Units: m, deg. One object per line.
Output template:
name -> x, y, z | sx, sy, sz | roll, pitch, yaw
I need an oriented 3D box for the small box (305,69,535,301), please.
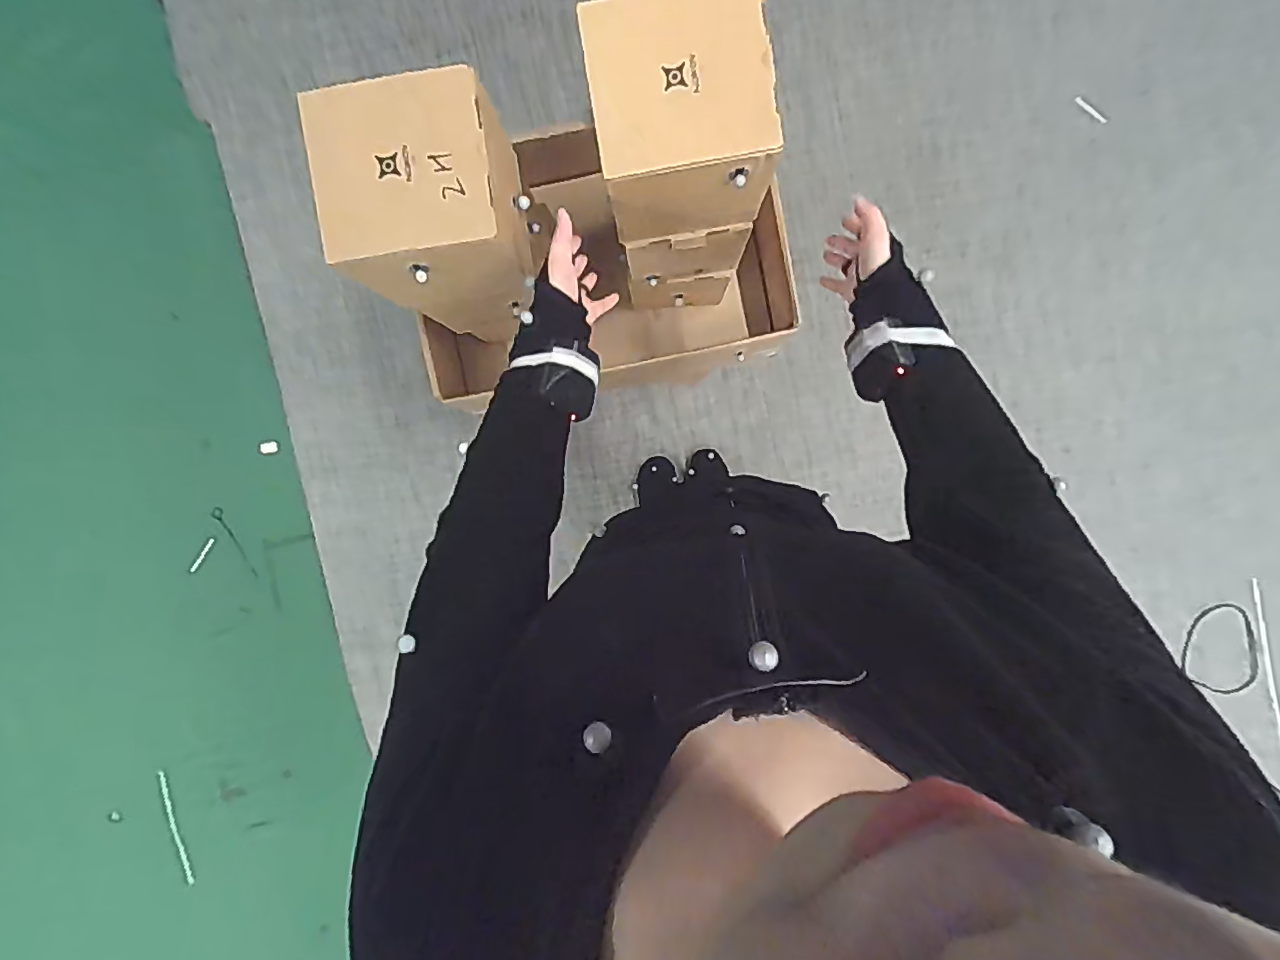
small box -> -0.232, -0.312, 0.611 | 0.179, 0.176, 0.168 | -7, 94, 3

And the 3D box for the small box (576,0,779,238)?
small box -> 0.040, -0.387, 0.592 | 0.179, 0.176, 0.168 | -9, 93, 4

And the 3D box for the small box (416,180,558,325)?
small box -> -0.223, -0.331, 0.774 | 0.168, 0.176, 0.179 | -10, 93, 3

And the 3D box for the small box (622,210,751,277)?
small box -> 0.055, -0.397, 0.754 | 0.168, 0.176, 0.179 | -8, 93, 4
